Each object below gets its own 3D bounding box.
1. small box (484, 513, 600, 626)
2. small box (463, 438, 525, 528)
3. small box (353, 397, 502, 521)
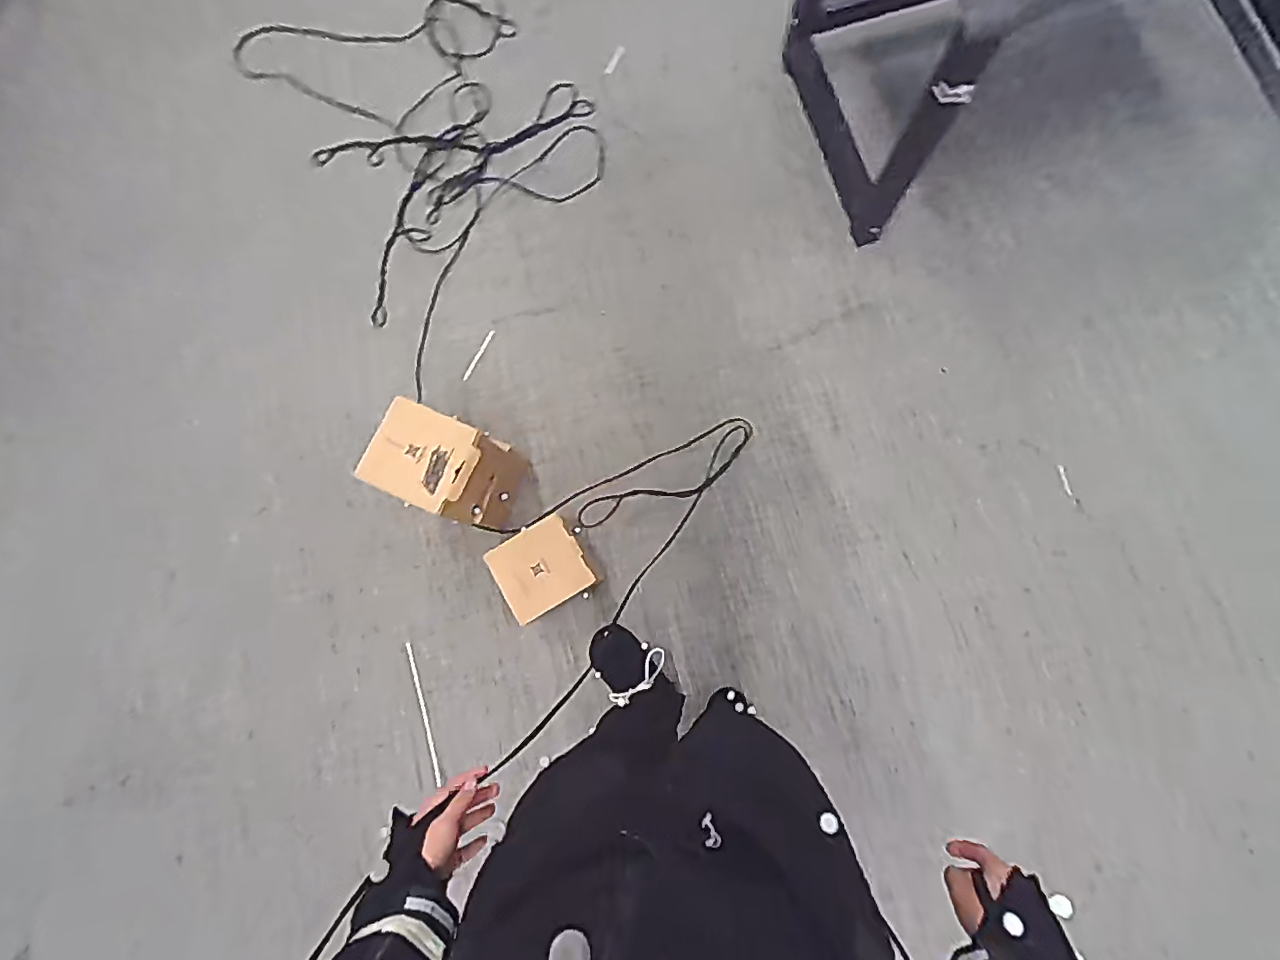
[{"bbox_3d":[-0.198,0.189,1.151,0.179,0.176,0.168,-32,80,-3],"label":"small box"},{"bbox_3d":[-0.369,-0.002,1.189,0.168,0.176,0.179,18,82,6],"label":"small box"},{"bbox_3d":[-0.389,-0.030,1.027,0.179,0.176,0.168,23,81,7],"label":"small box"}]
